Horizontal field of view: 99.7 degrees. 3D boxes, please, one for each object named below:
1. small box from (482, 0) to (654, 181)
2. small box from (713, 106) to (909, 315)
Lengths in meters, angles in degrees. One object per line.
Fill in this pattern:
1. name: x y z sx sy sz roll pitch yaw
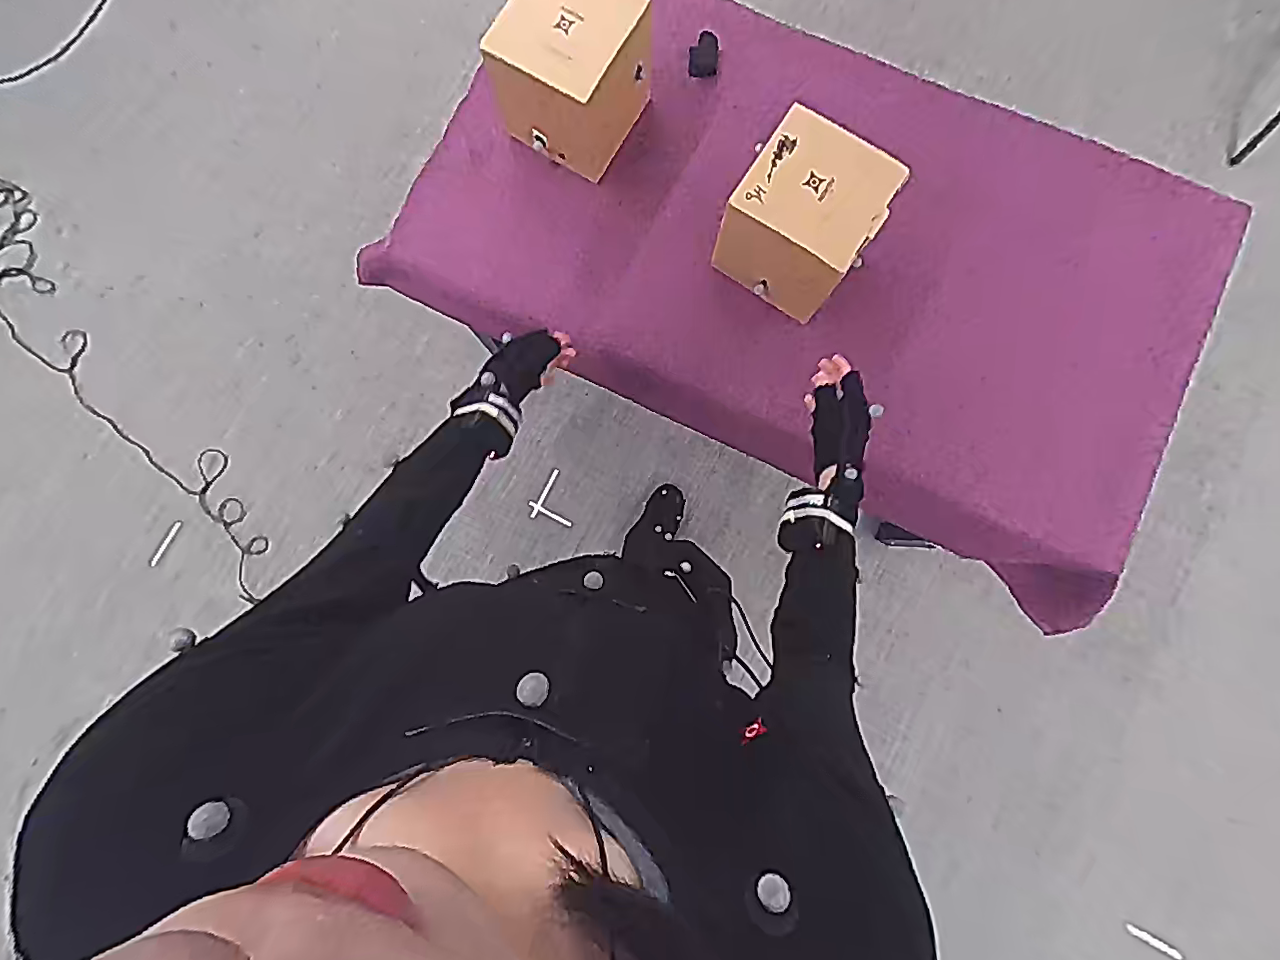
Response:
1. small box: -0.093 -0.585 0.780 0.168 0.176 0.179 30 86 4
2. small box: 0.225 -0.357 0.759 0.179 0.176 0.168 34 85 2
